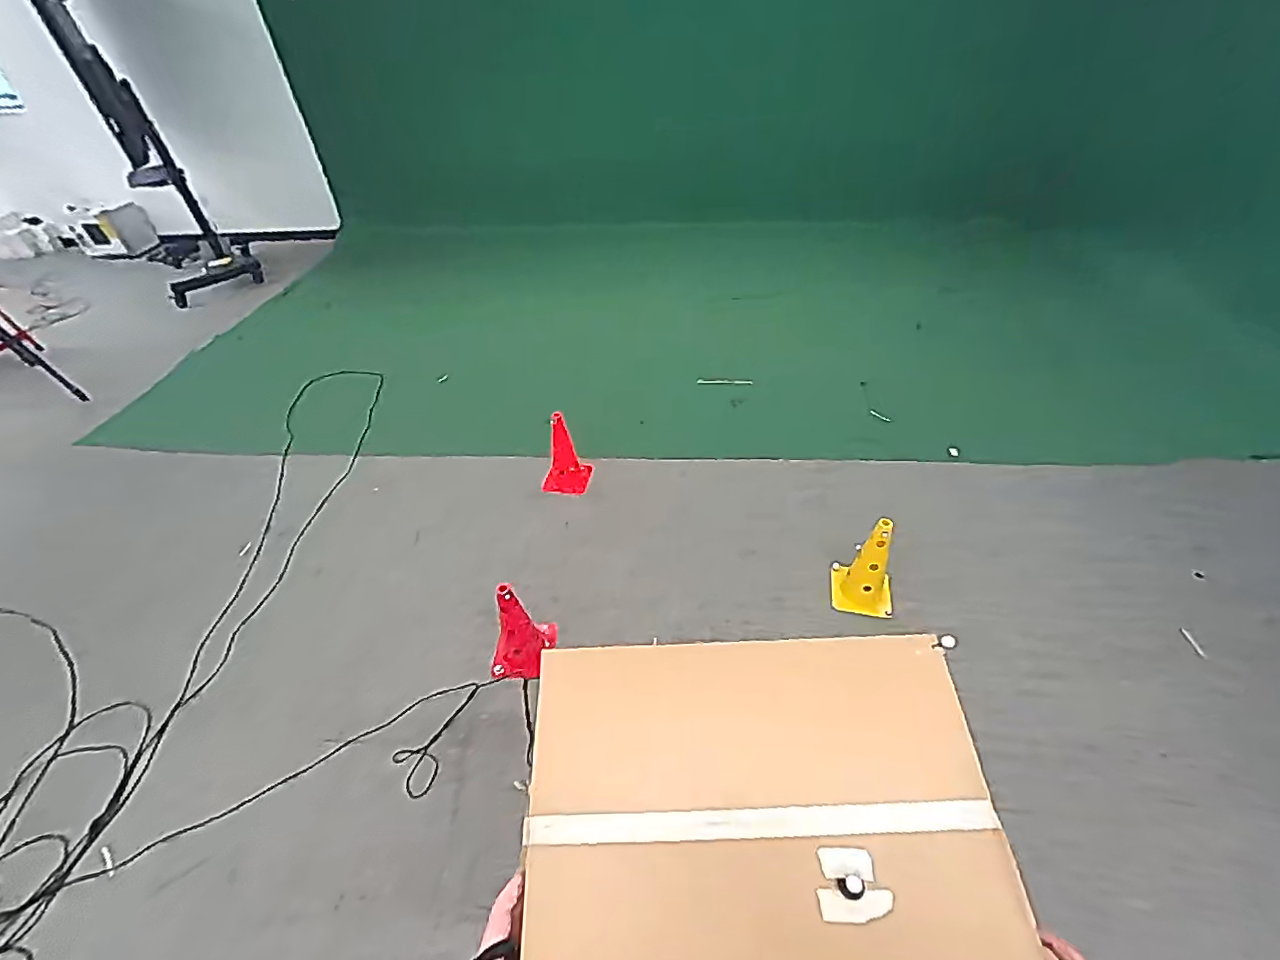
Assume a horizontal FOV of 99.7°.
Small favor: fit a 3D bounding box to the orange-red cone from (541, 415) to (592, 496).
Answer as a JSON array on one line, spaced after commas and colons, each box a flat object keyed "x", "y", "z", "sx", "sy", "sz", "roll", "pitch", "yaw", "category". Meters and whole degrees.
[{"x": -0.343, "y": -0.127, "z": 2.345, "sx": 0.199, "sy": 0.360, "sz": 0.198, "roll": 5, "pitch": 42, "yaw": 11, "category": "orange-red cone"}]

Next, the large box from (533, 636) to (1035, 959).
[{"x": 0.112, "y": 0.383, "z": 0.604, "sx": 0.408, "sy": 0.320, "sz": 0.320, "roll": -3, "pitch": 57, "yaw": 1, "category": "large box"}]
